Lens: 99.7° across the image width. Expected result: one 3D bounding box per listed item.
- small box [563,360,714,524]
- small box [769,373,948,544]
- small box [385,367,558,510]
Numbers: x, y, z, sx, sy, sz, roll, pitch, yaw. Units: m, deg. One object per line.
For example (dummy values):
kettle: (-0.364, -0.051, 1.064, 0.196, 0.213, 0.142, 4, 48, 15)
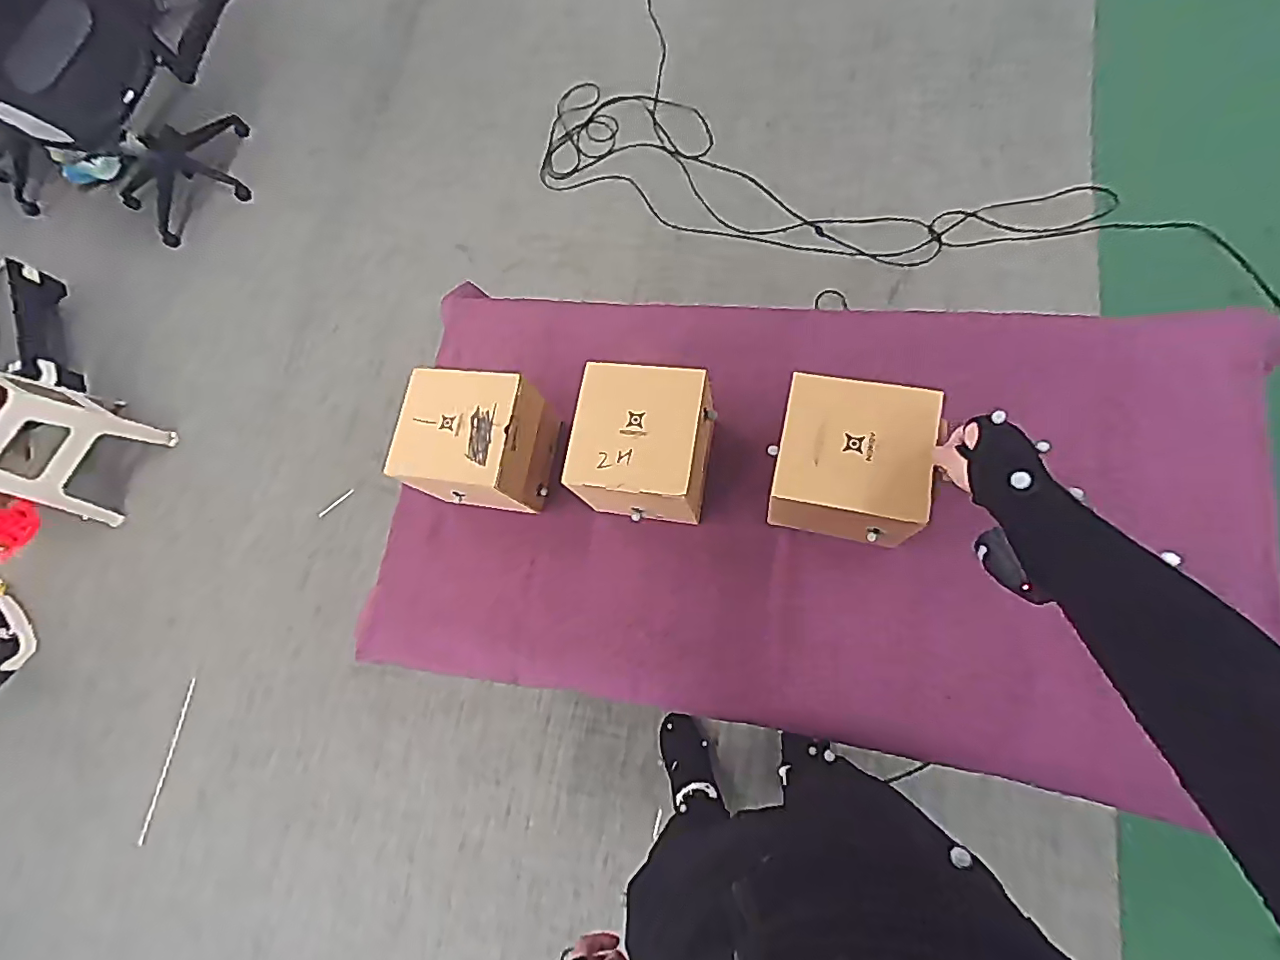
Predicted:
small box: (0.010, -0.048, 0.766, 0.168, 0.176, 0.179, 7, 77, 14)
small box: (0.273, -0.020, 0.707, 0.179, 0.176, 0.168, 11, 77, 15)
small box: (-0.240, -0.055, 0.820, 0.179, 0.176, 0.168, 7, 76, 14)
